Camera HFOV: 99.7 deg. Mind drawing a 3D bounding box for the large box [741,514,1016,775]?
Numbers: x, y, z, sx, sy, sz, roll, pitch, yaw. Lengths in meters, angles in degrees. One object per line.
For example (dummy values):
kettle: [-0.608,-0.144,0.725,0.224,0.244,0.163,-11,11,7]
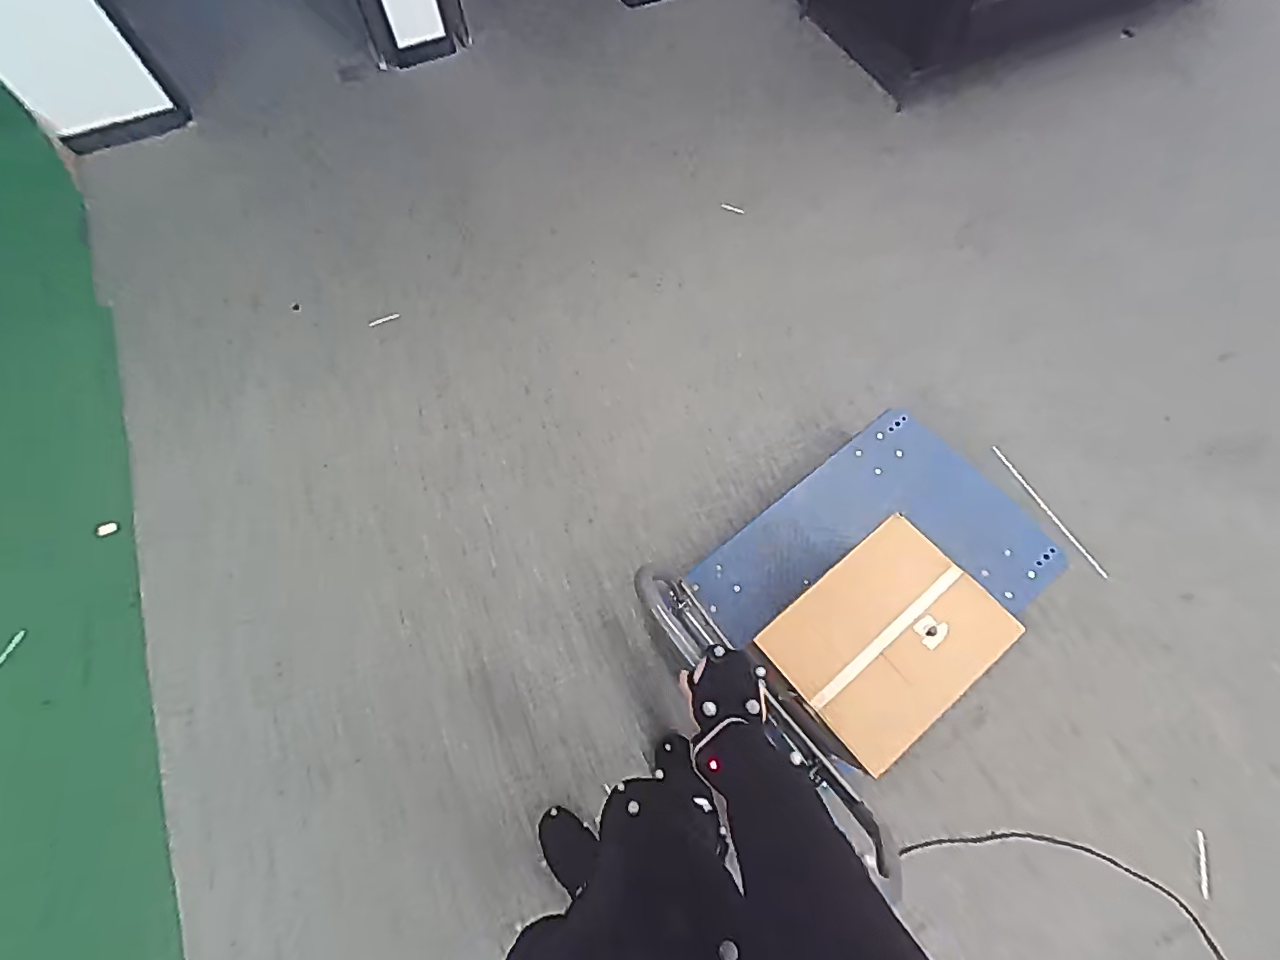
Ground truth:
large box: [0.476,0.351,1.170,0.408,0.320,0.320,-38,71,-9]
